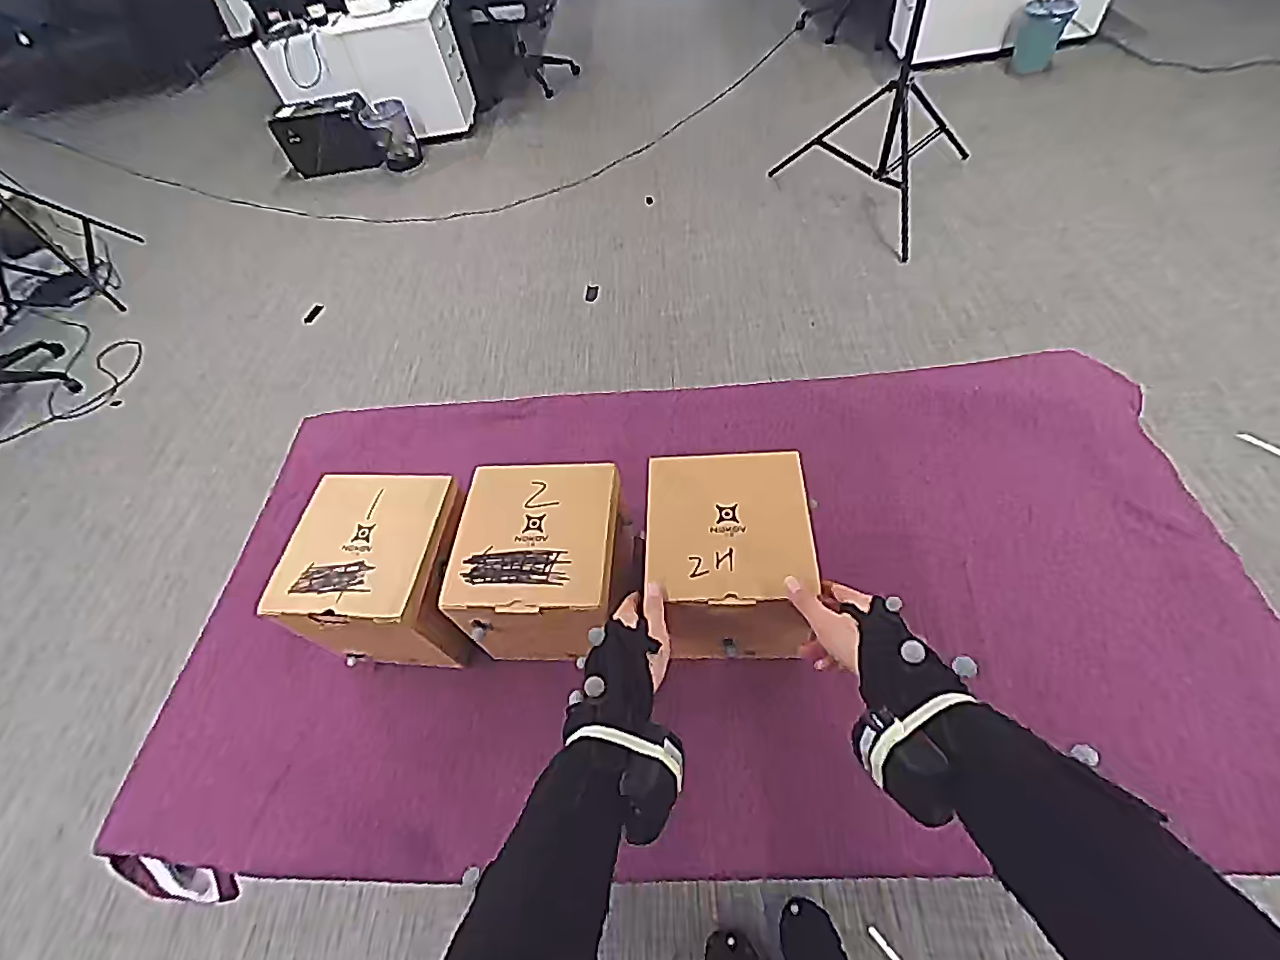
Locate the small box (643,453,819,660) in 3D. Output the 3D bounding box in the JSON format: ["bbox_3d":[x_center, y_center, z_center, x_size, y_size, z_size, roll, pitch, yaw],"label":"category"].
[{"bbox_3d":[0.097,0.089,0.614,0.168,0.176,0.179,-3,54,8],"label":"small box"}]
